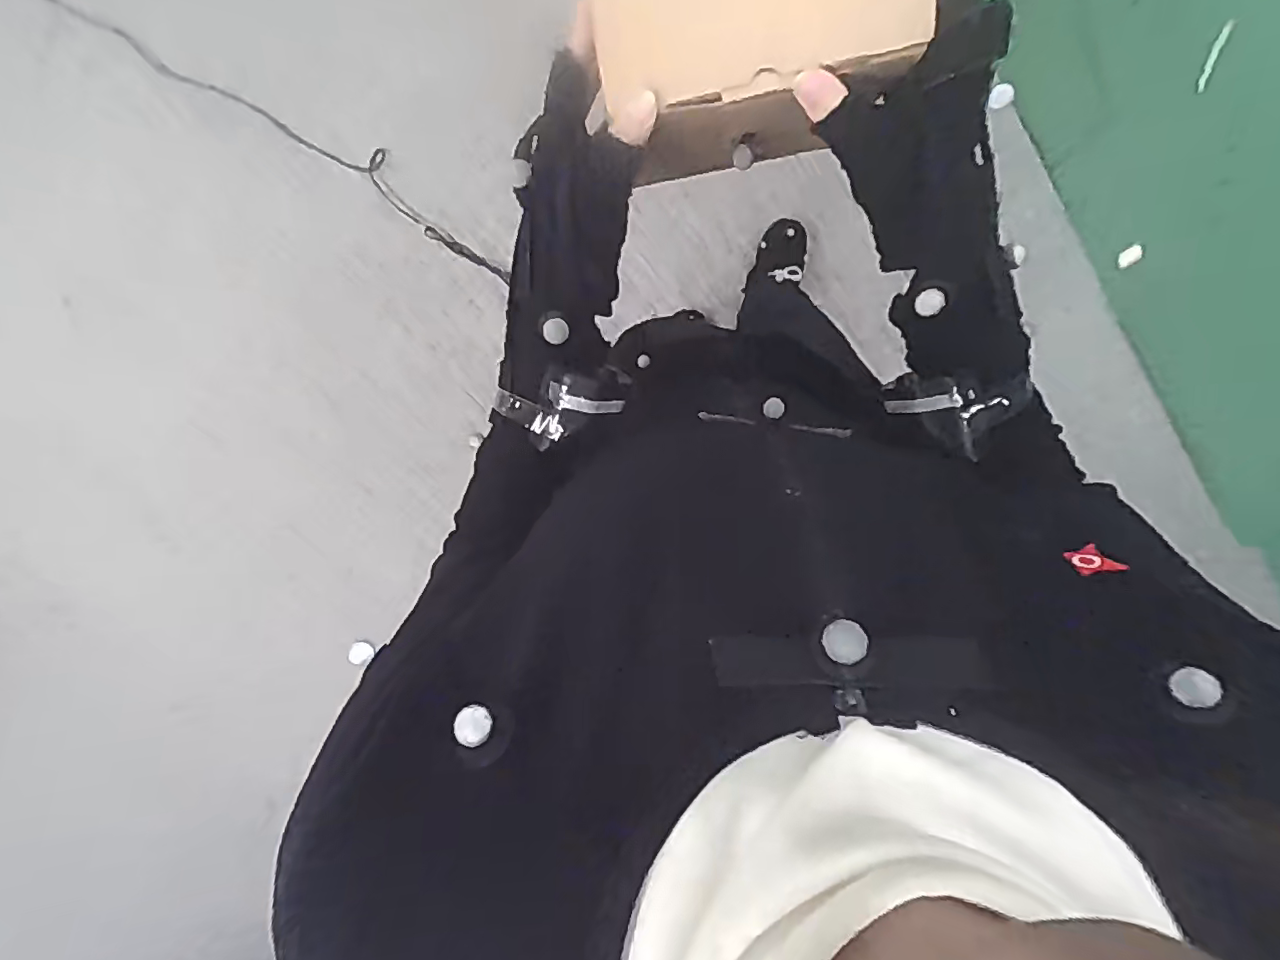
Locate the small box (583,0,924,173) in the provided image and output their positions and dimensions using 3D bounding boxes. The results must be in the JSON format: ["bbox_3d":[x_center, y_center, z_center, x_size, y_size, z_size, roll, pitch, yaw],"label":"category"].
[{"bbox_3d":[0.051,-0.305,0.327,0.168,0.176,0.179,-10,108,6],"label":"small box"}]
